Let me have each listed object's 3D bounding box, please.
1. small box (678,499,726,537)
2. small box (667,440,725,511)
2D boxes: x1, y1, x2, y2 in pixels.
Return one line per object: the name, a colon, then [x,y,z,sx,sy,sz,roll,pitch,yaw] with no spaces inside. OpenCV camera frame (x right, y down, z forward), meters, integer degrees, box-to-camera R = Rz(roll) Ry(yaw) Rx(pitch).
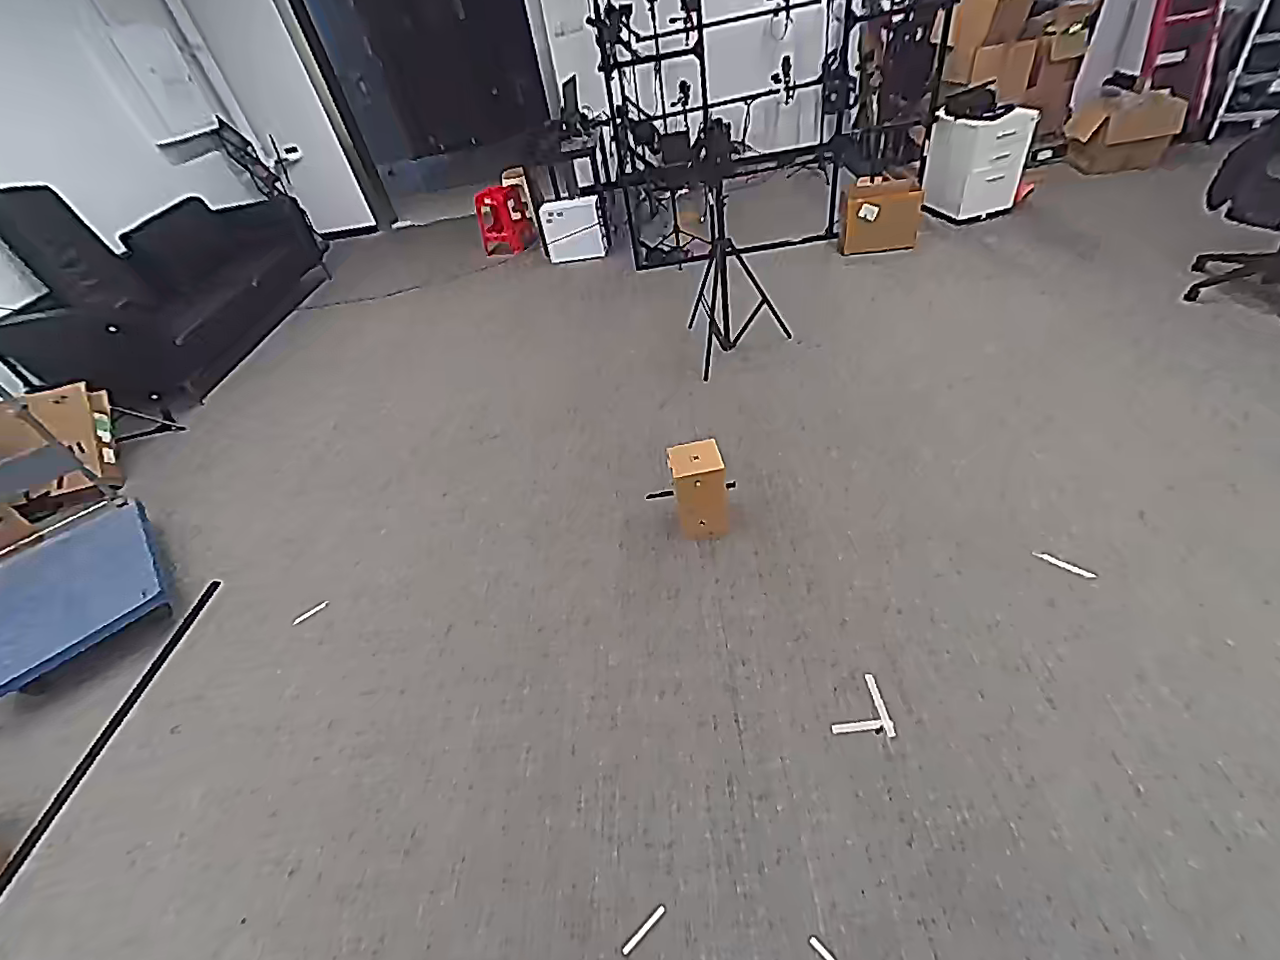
small box: [0.231,0.099,2.015,0.168,0.176,0.179,-5,41,8]
small box: [0.199,-0.013,1.901,0.179,0.176,0.168,-12,42,2]
